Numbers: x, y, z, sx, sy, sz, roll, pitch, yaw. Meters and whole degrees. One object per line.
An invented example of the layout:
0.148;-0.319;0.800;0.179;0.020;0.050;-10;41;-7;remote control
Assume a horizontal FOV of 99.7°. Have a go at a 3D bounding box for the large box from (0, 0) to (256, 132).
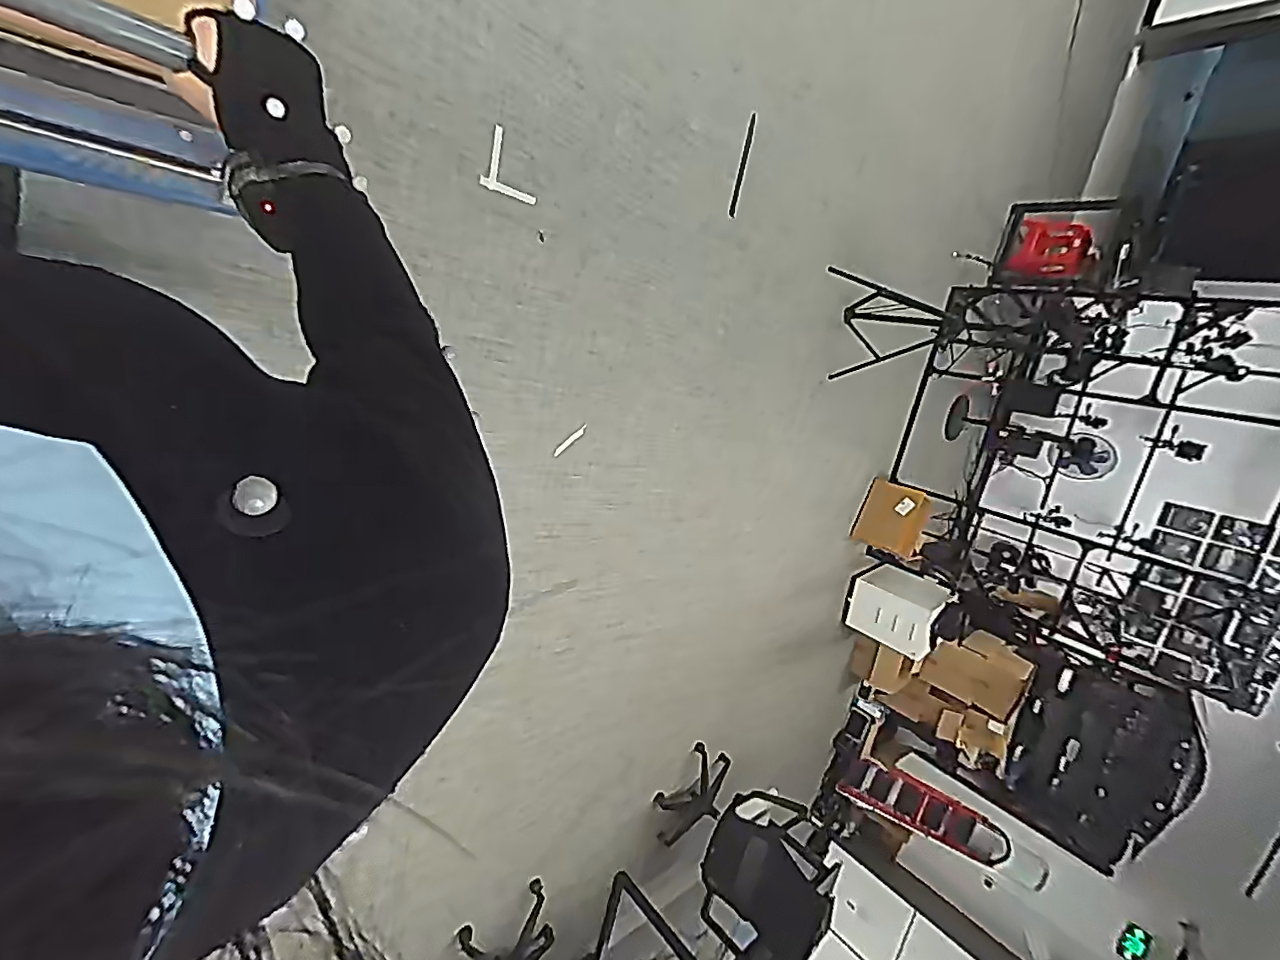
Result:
-0.771;-0.693;0.683;0.408;0.320;0.320;-9;113;-44;large box
